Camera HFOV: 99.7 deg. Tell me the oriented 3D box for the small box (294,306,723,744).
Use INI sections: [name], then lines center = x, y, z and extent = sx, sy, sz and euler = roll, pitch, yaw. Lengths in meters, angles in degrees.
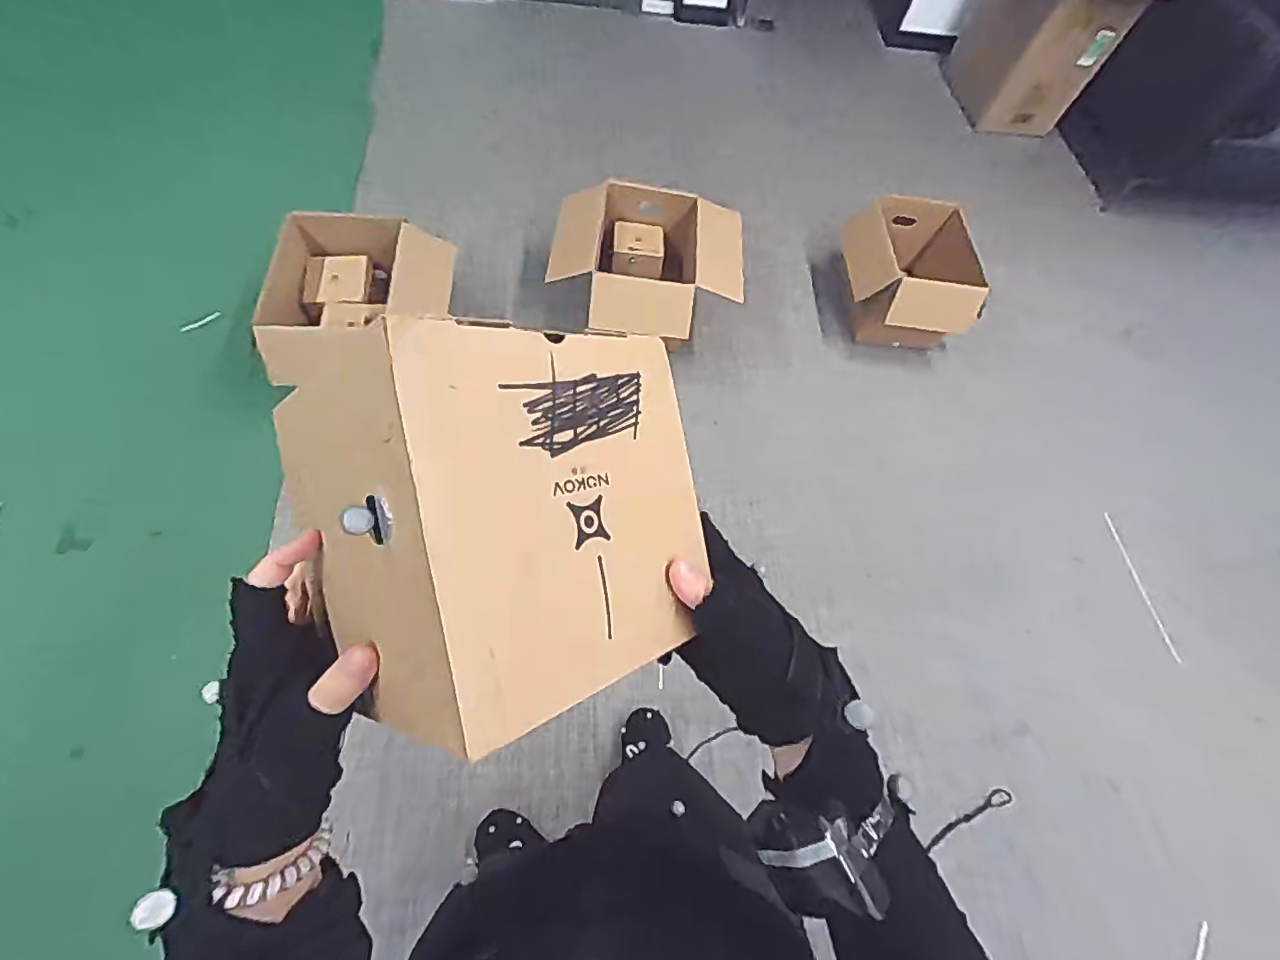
[small box]
center = -0.078, 0.020, 0.317
extent = 0.168, 0.176, 0.179
euler = -11, 91, -47
